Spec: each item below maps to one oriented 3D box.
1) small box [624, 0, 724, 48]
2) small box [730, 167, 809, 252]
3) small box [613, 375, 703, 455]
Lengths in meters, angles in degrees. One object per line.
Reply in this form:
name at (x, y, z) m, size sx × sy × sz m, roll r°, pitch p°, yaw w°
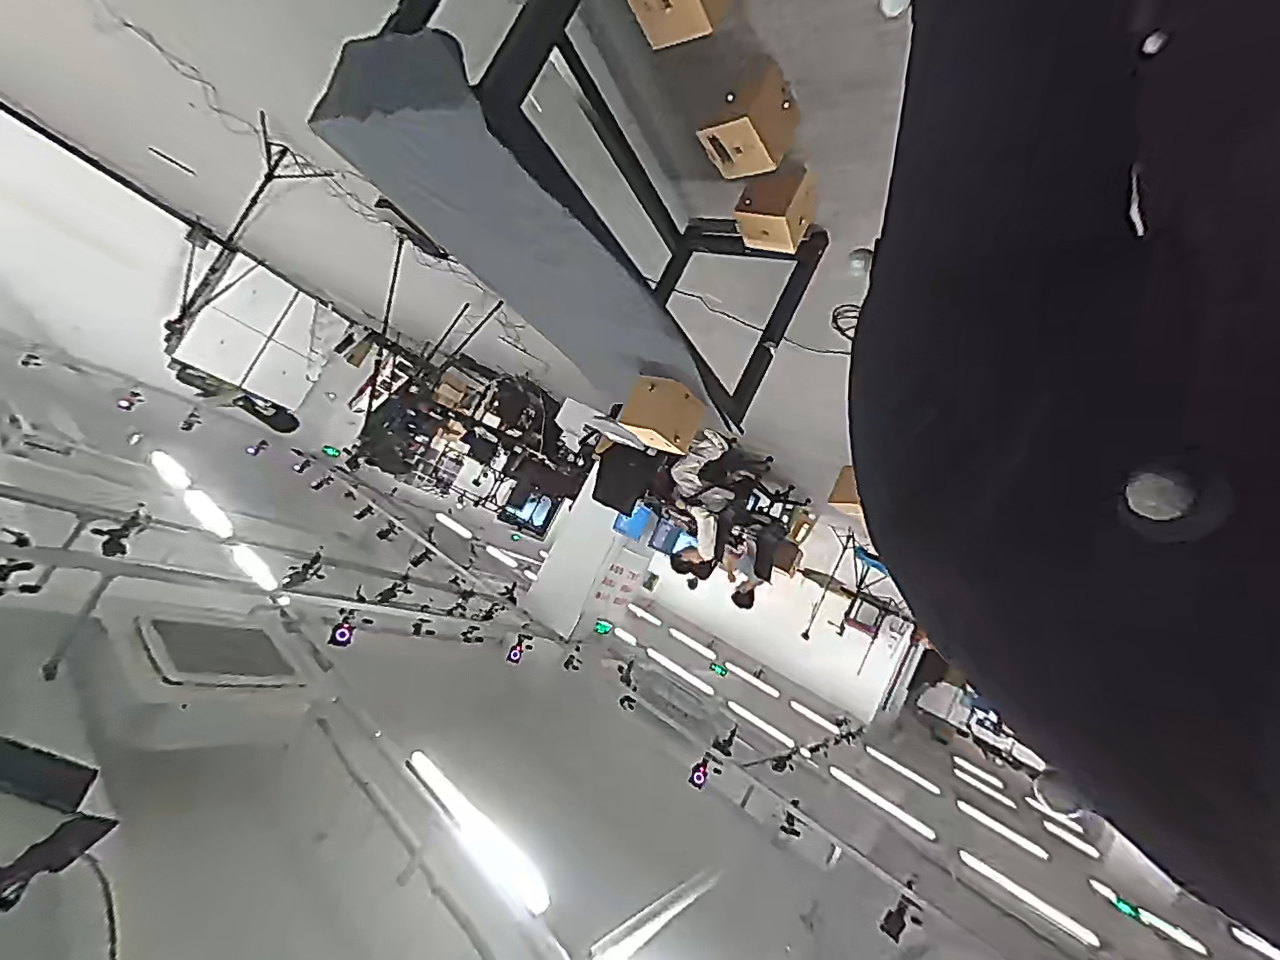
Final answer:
small box at (0.078, -1.064, 1.130) m, size 0.179 × 0.176 × 0.168 m, roll 22°, pitch 172°, yaw 39°
small box at (0.410, -0.841, 1.680) m, size 0.179 × 0.176 × 0.168 m, roll 24°, pitch 174°, yaw 30°
small box at (0.058, -0.201, 1.633) m, size 0.179 × 0.176 × 0.168 m, roll 20°, pitch 171°, yaw 46°
